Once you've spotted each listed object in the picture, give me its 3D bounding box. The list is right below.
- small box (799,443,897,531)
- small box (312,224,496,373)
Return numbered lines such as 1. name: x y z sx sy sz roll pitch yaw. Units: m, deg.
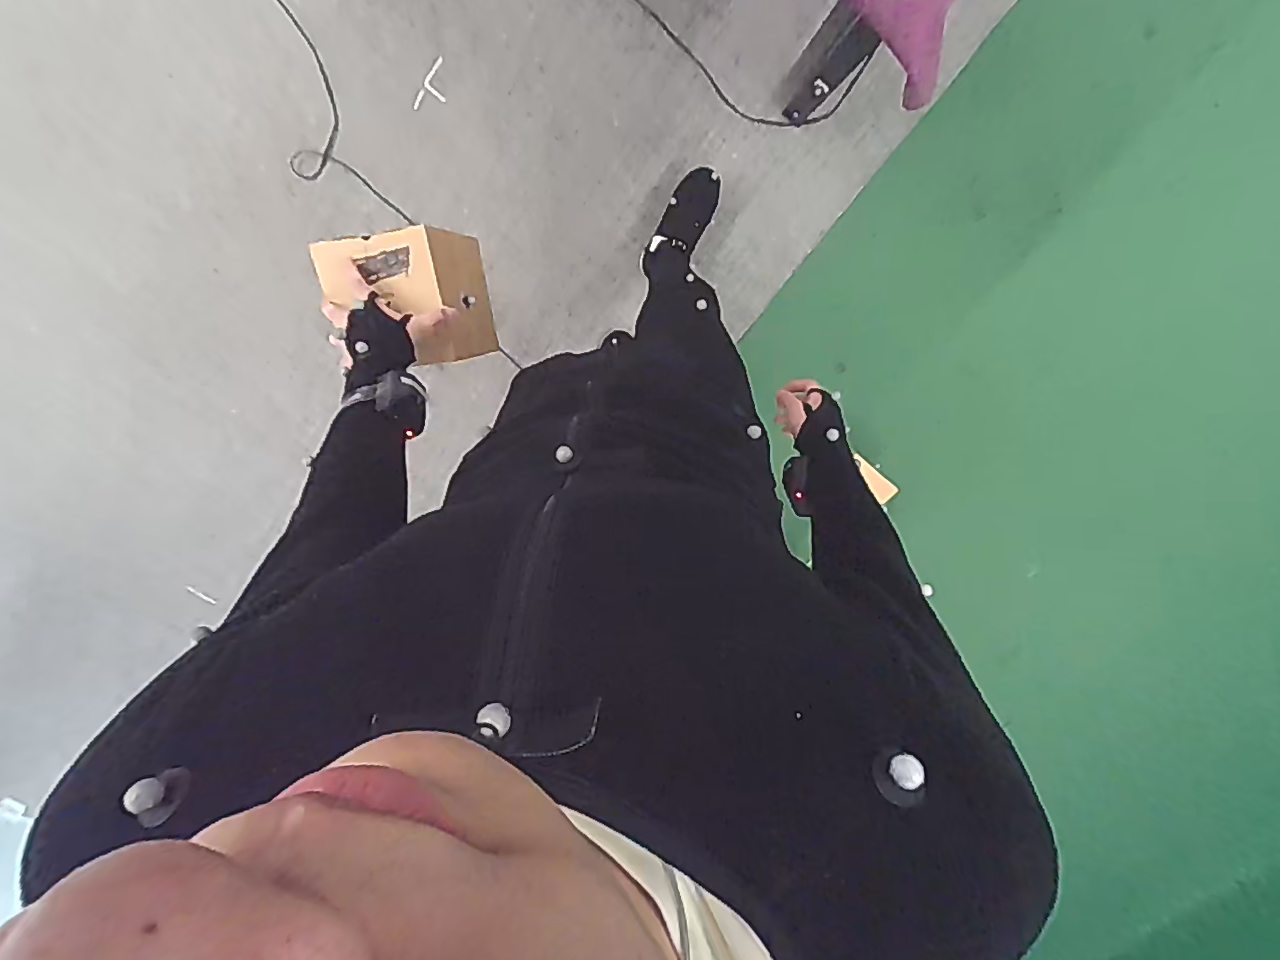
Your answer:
1. small box: 0.594 0.012 1.570 0.179 0.176 0.168 36 107 -13
2. small box: -0.331 -0.262 0.795 0.168 0.176 0.179 -4 109 10
